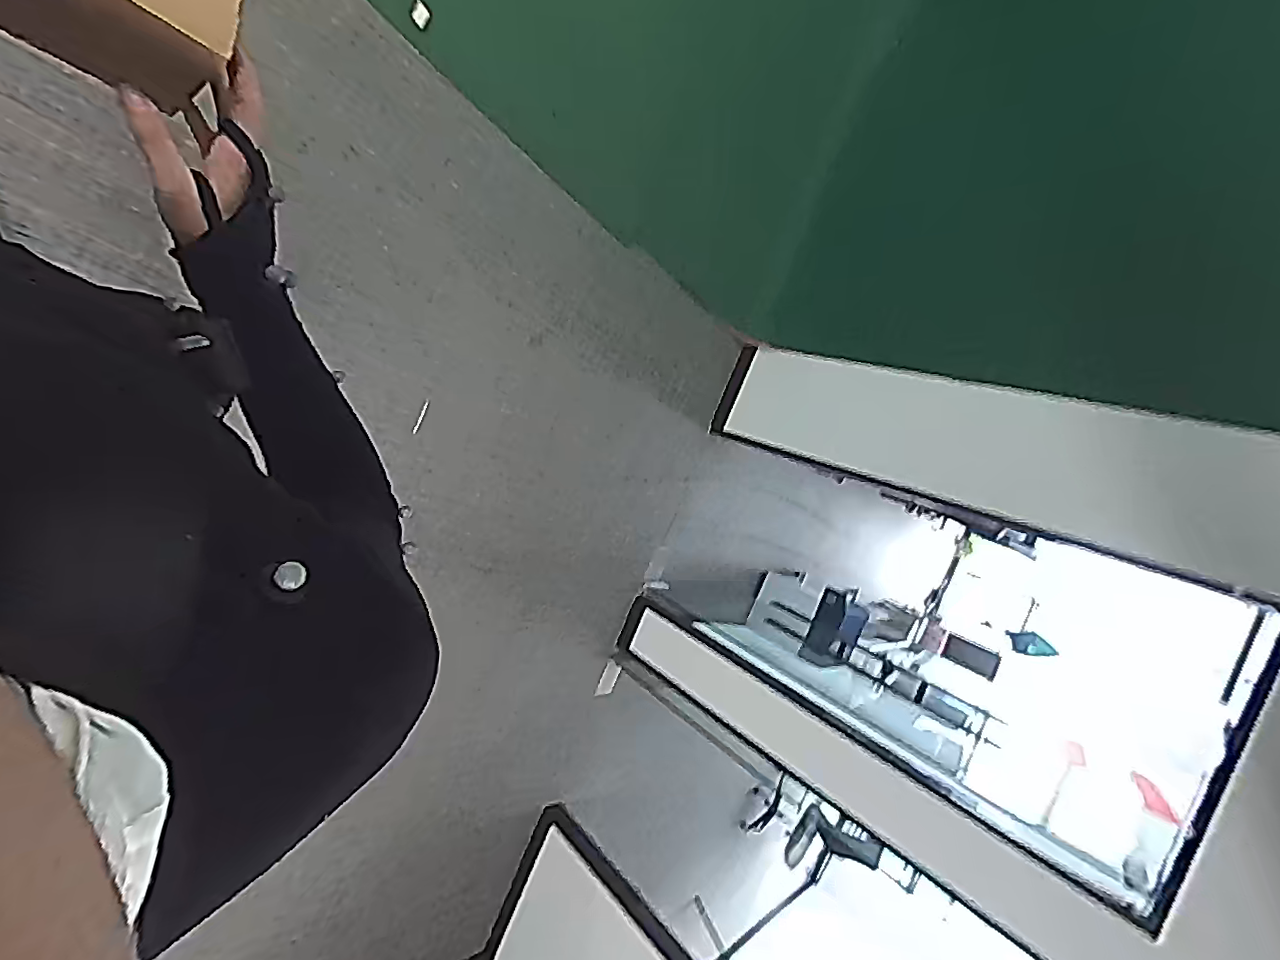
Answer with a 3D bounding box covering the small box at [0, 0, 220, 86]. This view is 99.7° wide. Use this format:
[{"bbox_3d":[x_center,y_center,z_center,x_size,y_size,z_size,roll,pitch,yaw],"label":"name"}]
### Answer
[{"bbox_3d":[-0.385,-0.401,0.346,0.179,0.176,0.168,12,91,-52],"label":"small box"}]
